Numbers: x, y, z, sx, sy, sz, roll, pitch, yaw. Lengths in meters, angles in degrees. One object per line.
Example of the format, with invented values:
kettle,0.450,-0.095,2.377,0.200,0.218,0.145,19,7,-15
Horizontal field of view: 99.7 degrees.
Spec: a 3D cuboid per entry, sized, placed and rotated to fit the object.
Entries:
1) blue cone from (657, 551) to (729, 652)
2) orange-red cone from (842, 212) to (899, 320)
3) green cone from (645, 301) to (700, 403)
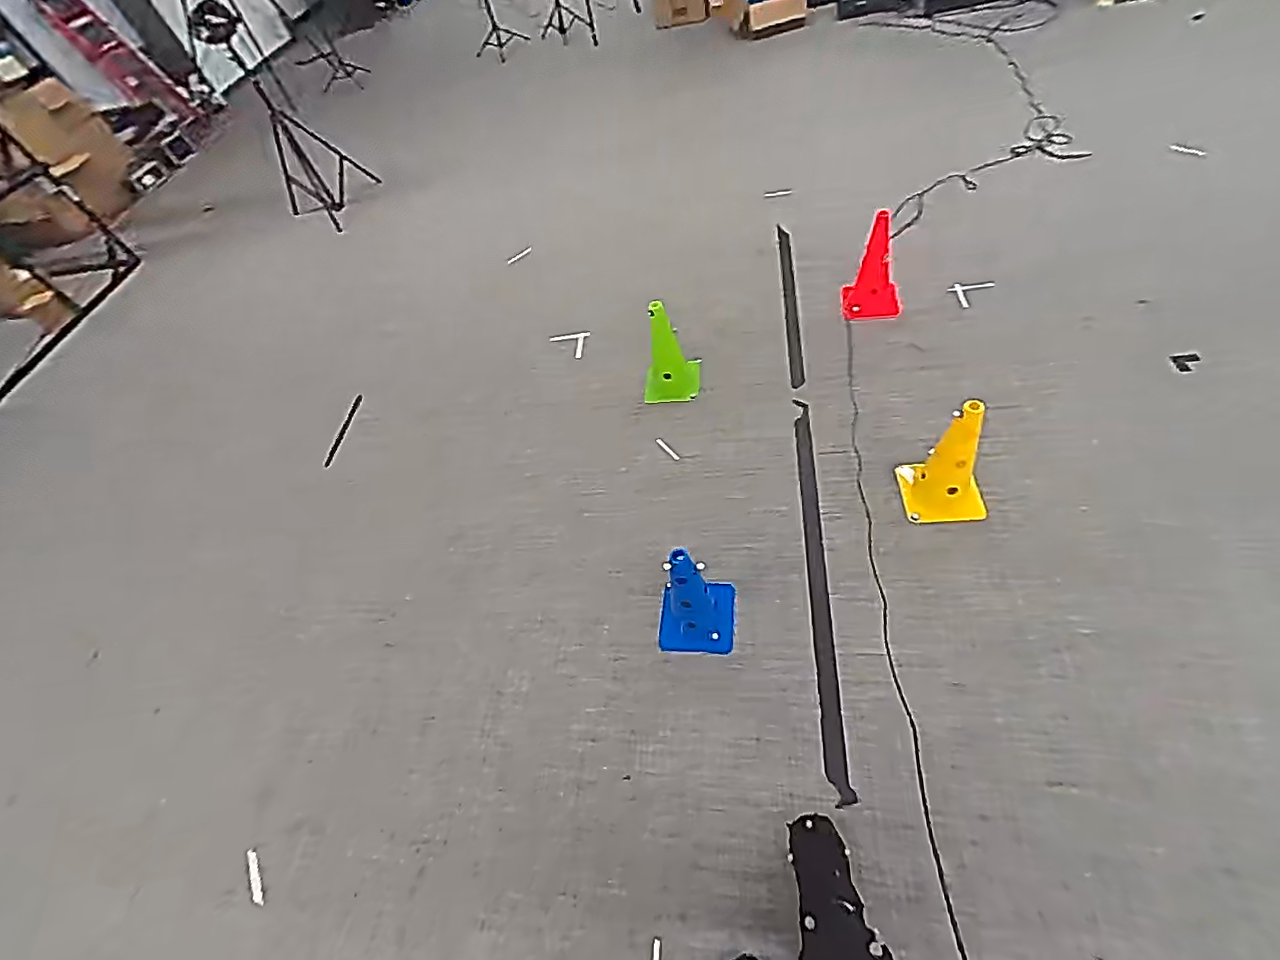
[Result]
blue cone,0.109,0.281,1.348,0.192,0.380,0.193,0,54,16
orange-red cone,0.837,-0.772,1.915,0.199,0.360,0.198,2,57,15
green cone,0.083,-0.466,1.884,0.202,0.368,0.200,-3,54,14
